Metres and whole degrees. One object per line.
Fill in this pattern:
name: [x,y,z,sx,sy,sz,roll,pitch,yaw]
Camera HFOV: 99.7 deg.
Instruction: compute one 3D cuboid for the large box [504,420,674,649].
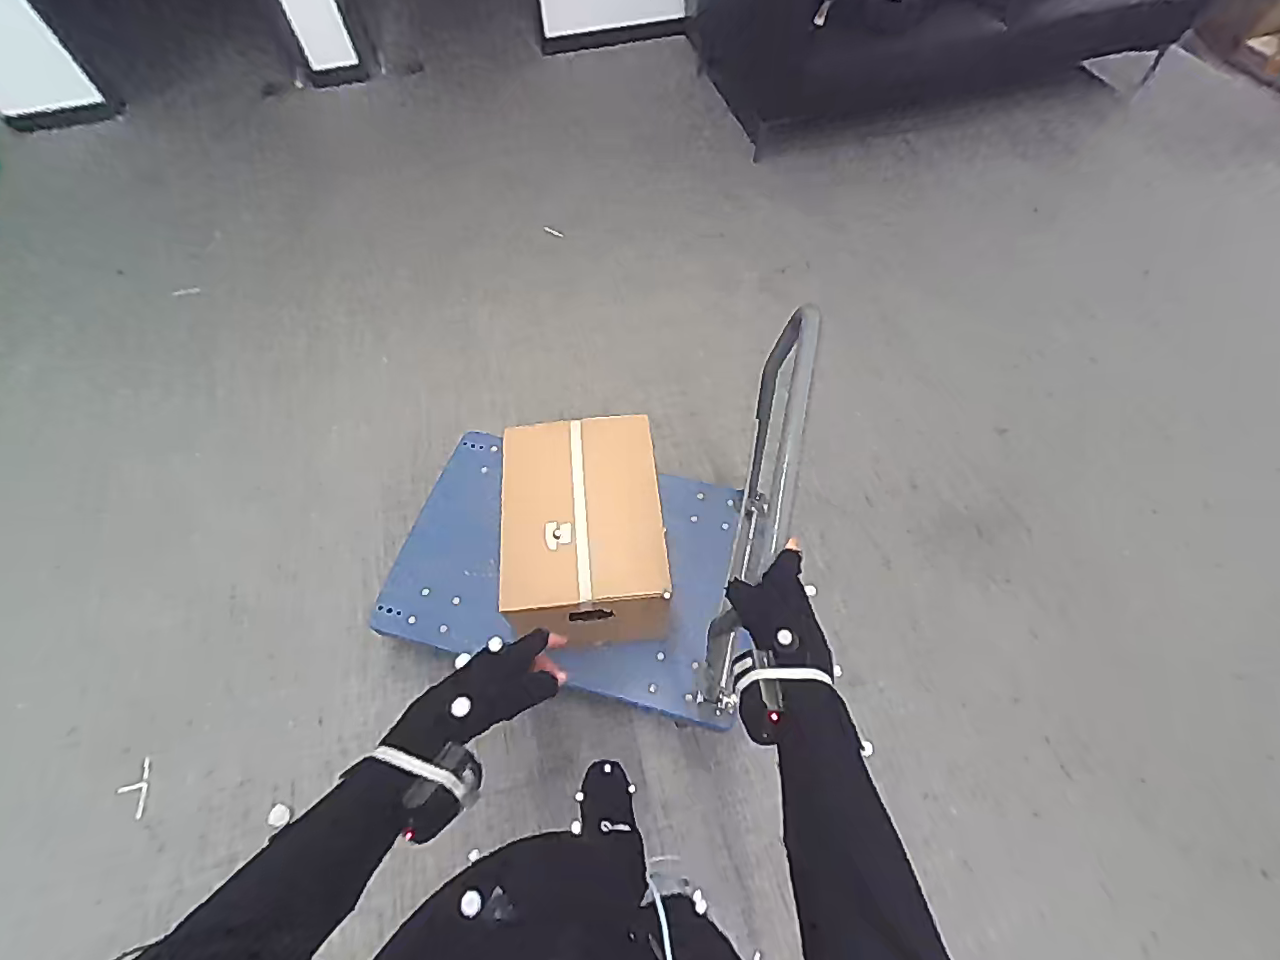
large box: [-0.113,0.126,1.194,0.320,0.320,0.408,-5,60,-2]
